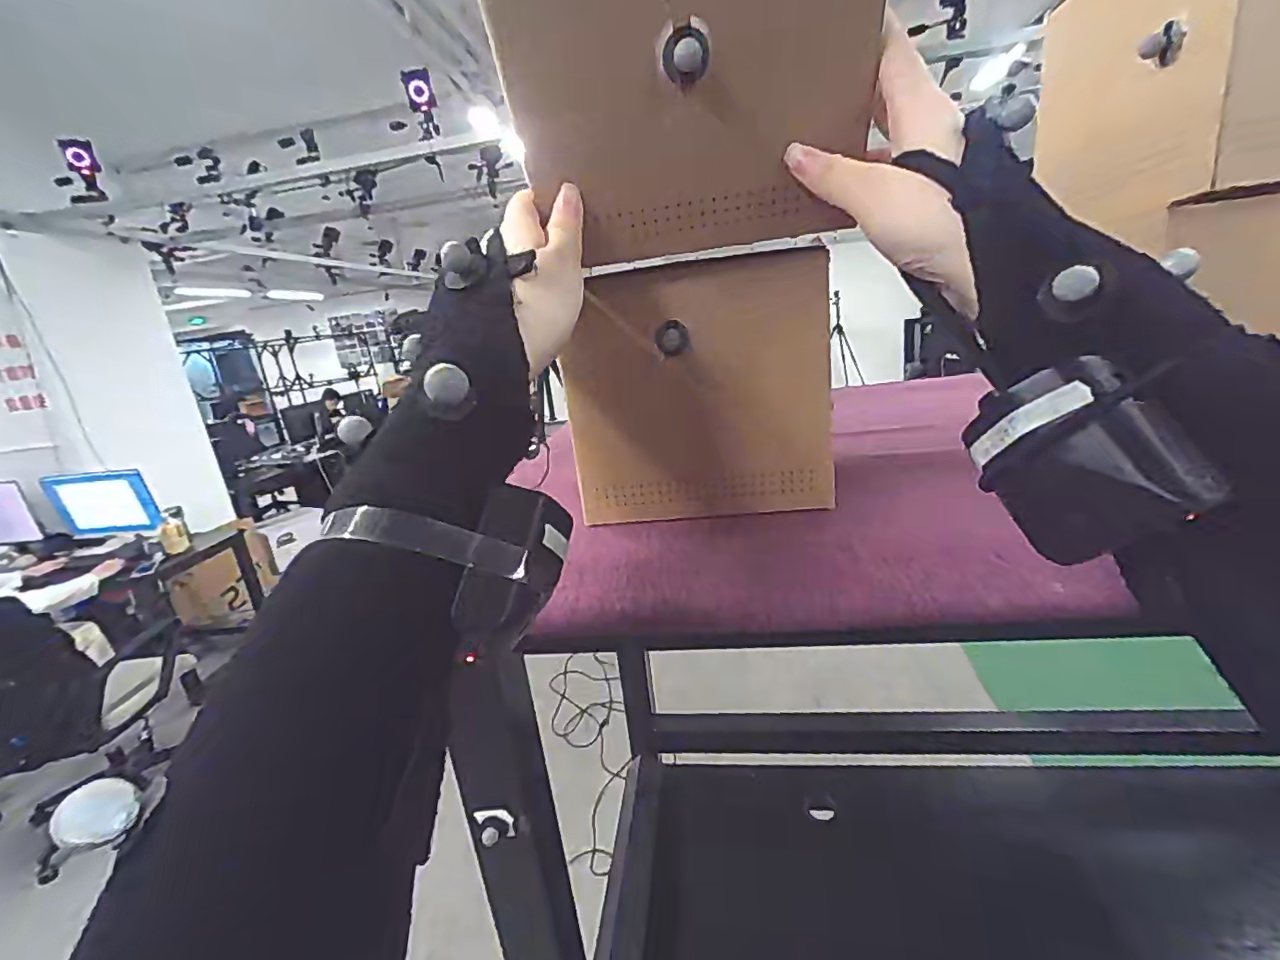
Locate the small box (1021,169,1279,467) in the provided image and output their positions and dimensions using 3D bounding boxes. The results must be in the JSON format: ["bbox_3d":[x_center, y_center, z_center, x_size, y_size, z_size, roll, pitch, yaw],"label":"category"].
[{"bbox_3d":[0.403,-0.109,0.381,0.179,0.176,0.168,-4,15,9],"label":"small box"}]

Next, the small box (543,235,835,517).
[{"bbox_3d":[0.044,-0.077,0.418,0.179,0.176,0.168,-5,18,9],"label":"small box"}]

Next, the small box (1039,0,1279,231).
[{"bbox_3d":[0.390,-0.265,0.338,0.168,0.176,0.179,-4,14,6],"label":"small box"}]
